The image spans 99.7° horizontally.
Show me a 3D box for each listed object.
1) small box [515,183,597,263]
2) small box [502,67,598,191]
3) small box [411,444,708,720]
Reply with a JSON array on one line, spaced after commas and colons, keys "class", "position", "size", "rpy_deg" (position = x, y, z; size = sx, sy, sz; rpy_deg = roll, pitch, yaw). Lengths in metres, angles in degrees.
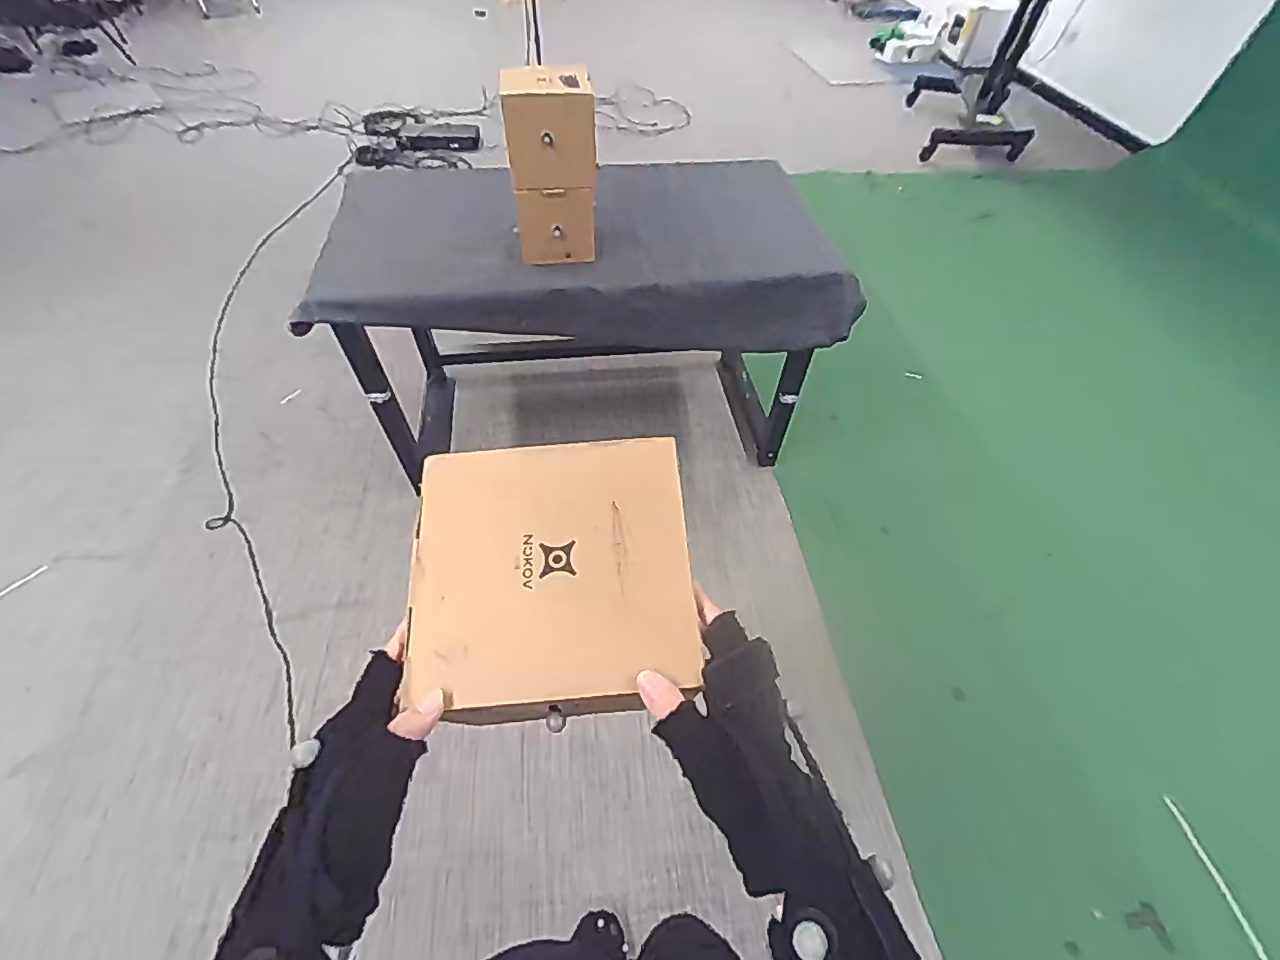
[{"class": "small box", "position": [-0.188, -0.609, 1.228], "size": [0.168, 0.176, 0.179], "rpy_deg": [-6, 53, -7]}, {"class": "small box", "position": [-0.176, -0.707, 1.096], "size": [0.179, 0.176, 0.168], "rpy_deg": [-5, 52, -5]}, {"class": "small box", "position": [-0.052, 0.088, 0.417], "size": [0.179, 0.176, 0.168], "rpy_deg": [-5, 65, -3]}]
